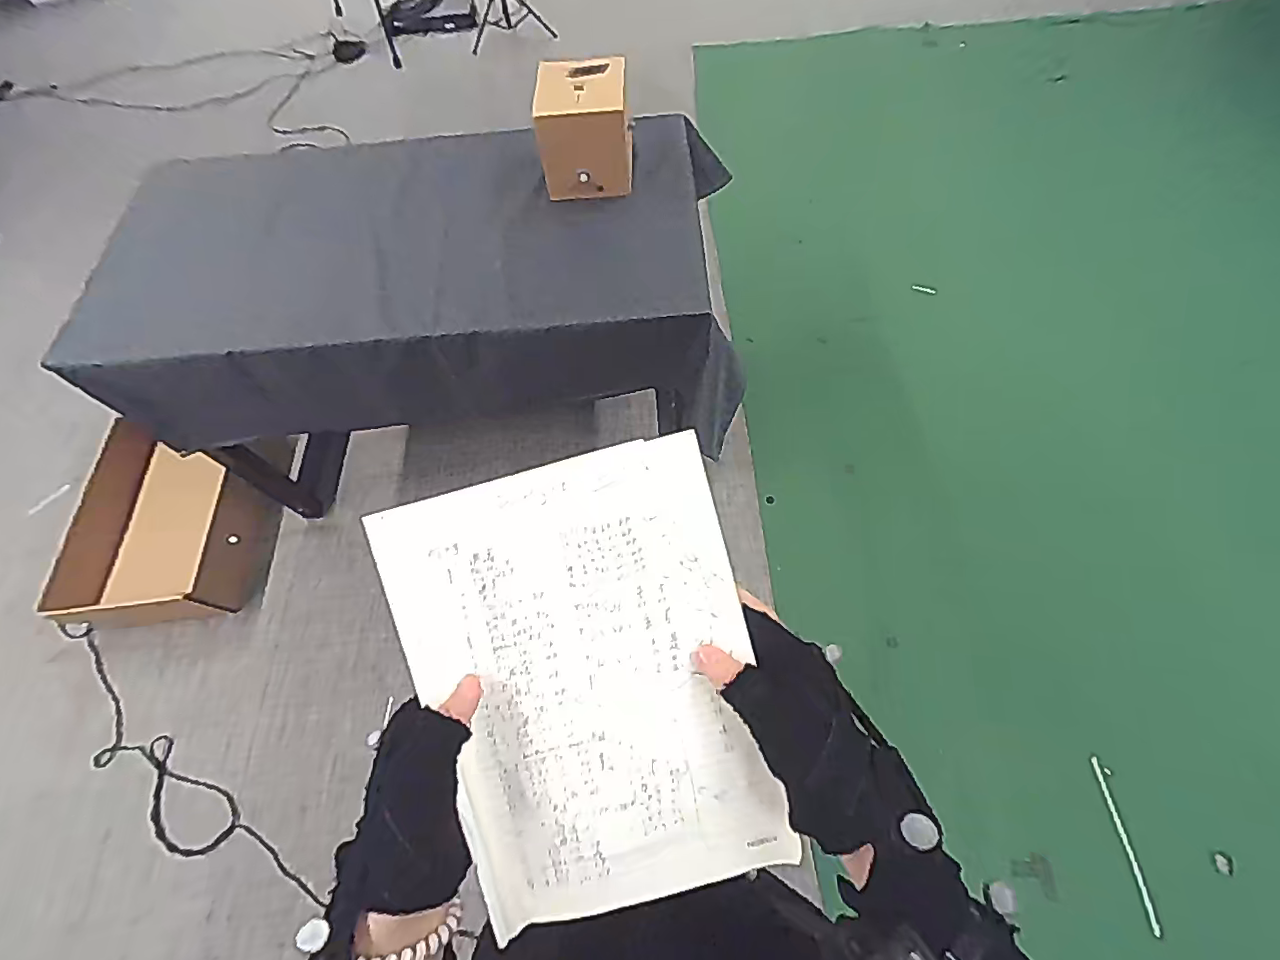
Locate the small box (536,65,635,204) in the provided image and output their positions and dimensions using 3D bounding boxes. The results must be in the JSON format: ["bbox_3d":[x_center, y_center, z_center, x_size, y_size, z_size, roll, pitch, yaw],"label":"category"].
[{"bbox_3d":[-0.098,-0.676,1.067,0.168,0.176,0.179,-1,63,4],"label":"small box"}]
